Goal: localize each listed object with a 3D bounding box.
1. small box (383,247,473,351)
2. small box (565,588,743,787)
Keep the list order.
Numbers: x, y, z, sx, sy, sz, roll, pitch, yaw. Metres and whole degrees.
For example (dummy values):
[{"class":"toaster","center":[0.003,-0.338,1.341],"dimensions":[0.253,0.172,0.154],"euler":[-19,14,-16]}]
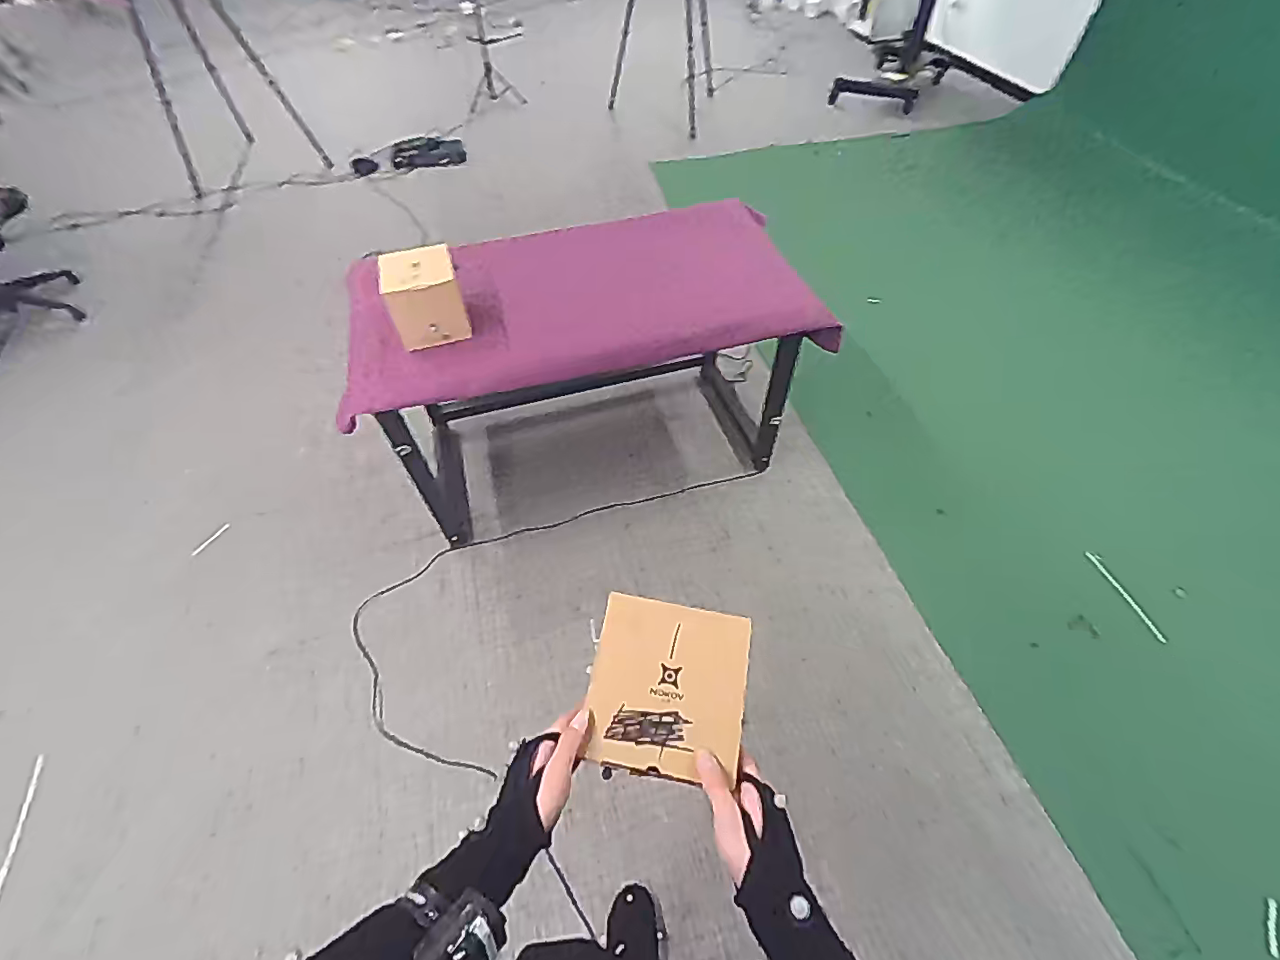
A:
[{"class":"small box","center":[-0.529,-0.454,1.358],"dimensions":[0.168,0.176,0.179],"euler":[-15,54,-10]},{"class":"small box","center":[0.020,0.251,0.643],"dimensions":[0.168,0.176,0.179],"euler":[10,60,5]}]
